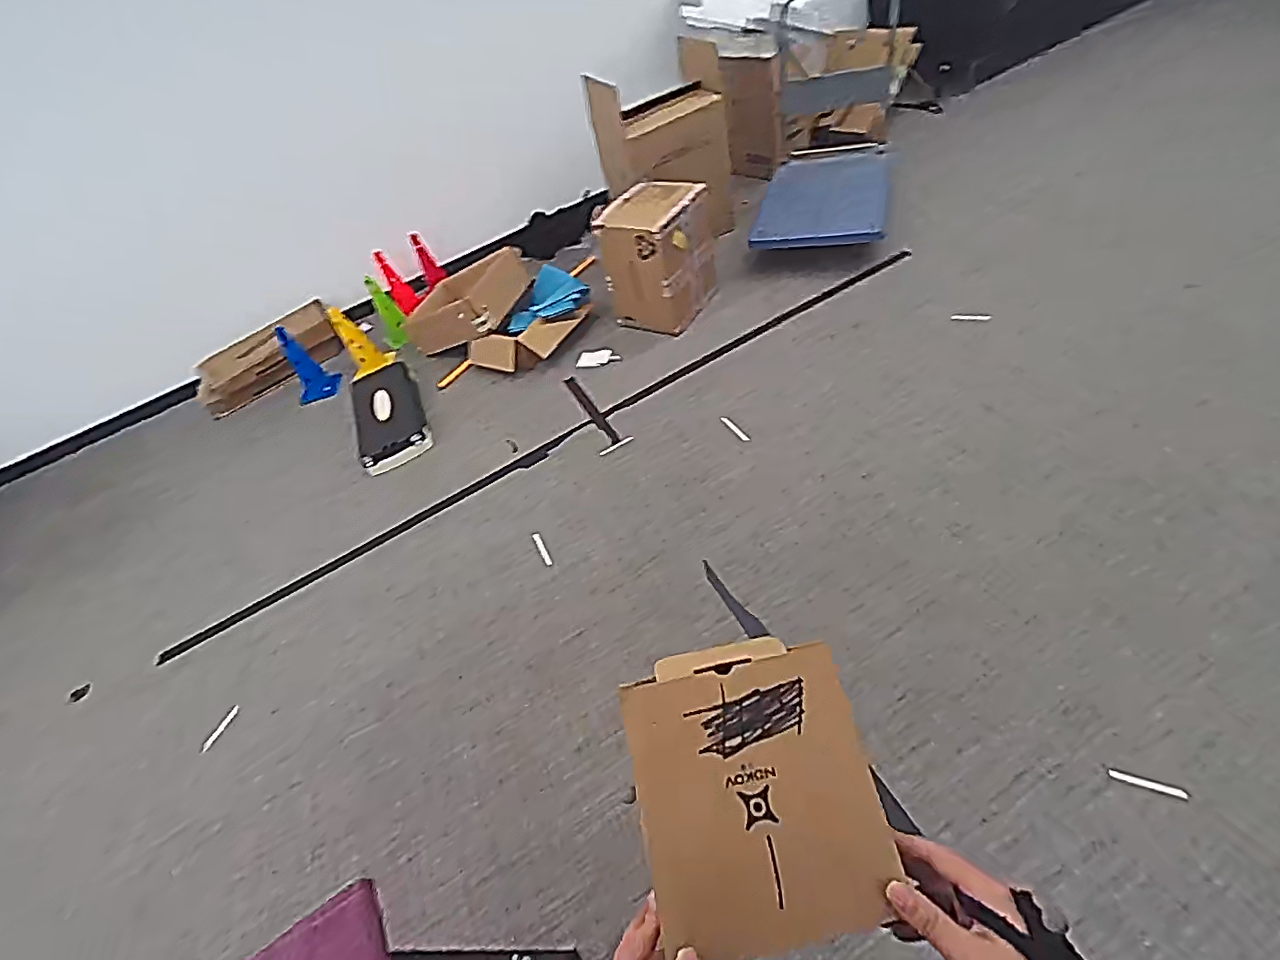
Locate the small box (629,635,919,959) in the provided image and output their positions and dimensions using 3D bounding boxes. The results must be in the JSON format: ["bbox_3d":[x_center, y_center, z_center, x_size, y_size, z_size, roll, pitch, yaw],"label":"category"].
[{"bbox_3d":[0.087,0.246,0.451,0.168,0.176,0.179,-11,65,-3],"label":"small box"}]
